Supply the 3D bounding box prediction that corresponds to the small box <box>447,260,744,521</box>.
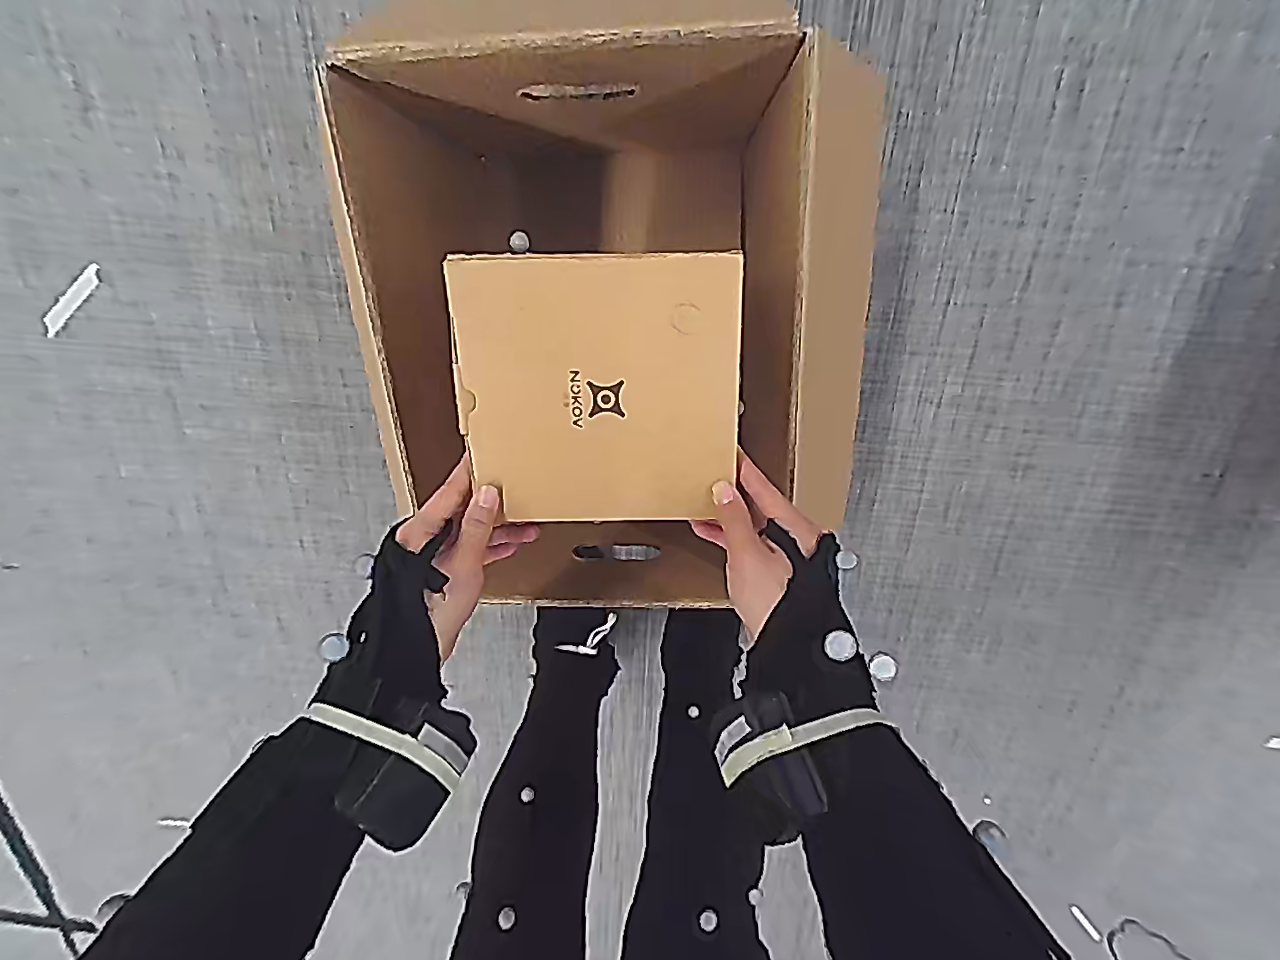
[{"bbox_3d":[-0.023,-0.077,0.414,0.179,0.176,0.168,-1,109,2],"label":"small box"}]
